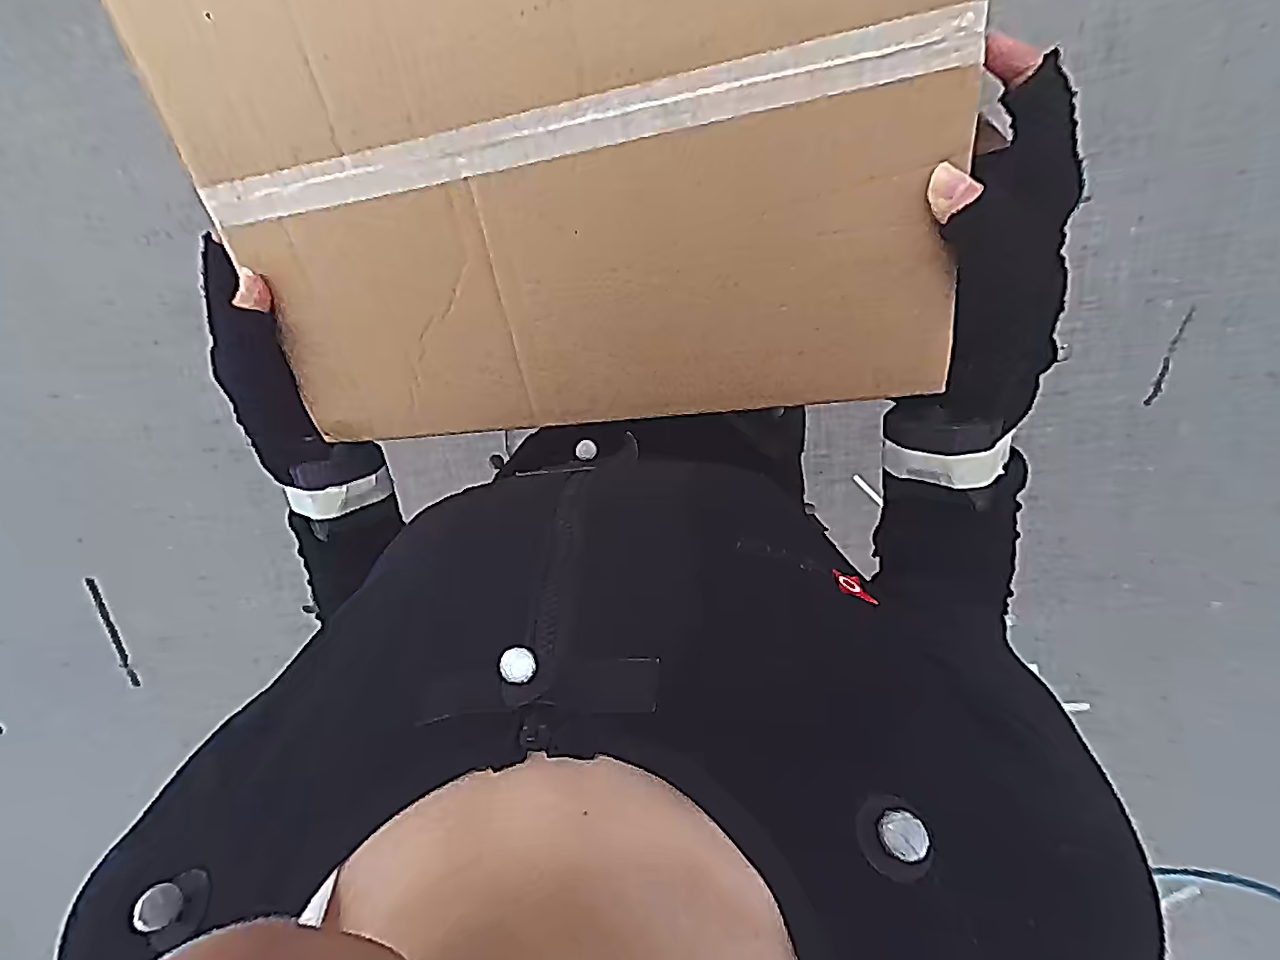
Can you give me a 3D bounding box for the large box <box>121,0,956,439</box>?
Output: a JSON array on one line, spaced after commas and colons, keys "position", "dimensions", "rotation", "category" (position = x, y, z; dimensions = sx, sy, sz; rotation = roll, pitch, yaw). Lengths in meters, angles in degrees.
[{"position": [-0.029, -0.251, 0.403], "dimensions": [0.408, 0.320, 0.320], "rotation": [-3, 119, 14], "category": "large box"}]
